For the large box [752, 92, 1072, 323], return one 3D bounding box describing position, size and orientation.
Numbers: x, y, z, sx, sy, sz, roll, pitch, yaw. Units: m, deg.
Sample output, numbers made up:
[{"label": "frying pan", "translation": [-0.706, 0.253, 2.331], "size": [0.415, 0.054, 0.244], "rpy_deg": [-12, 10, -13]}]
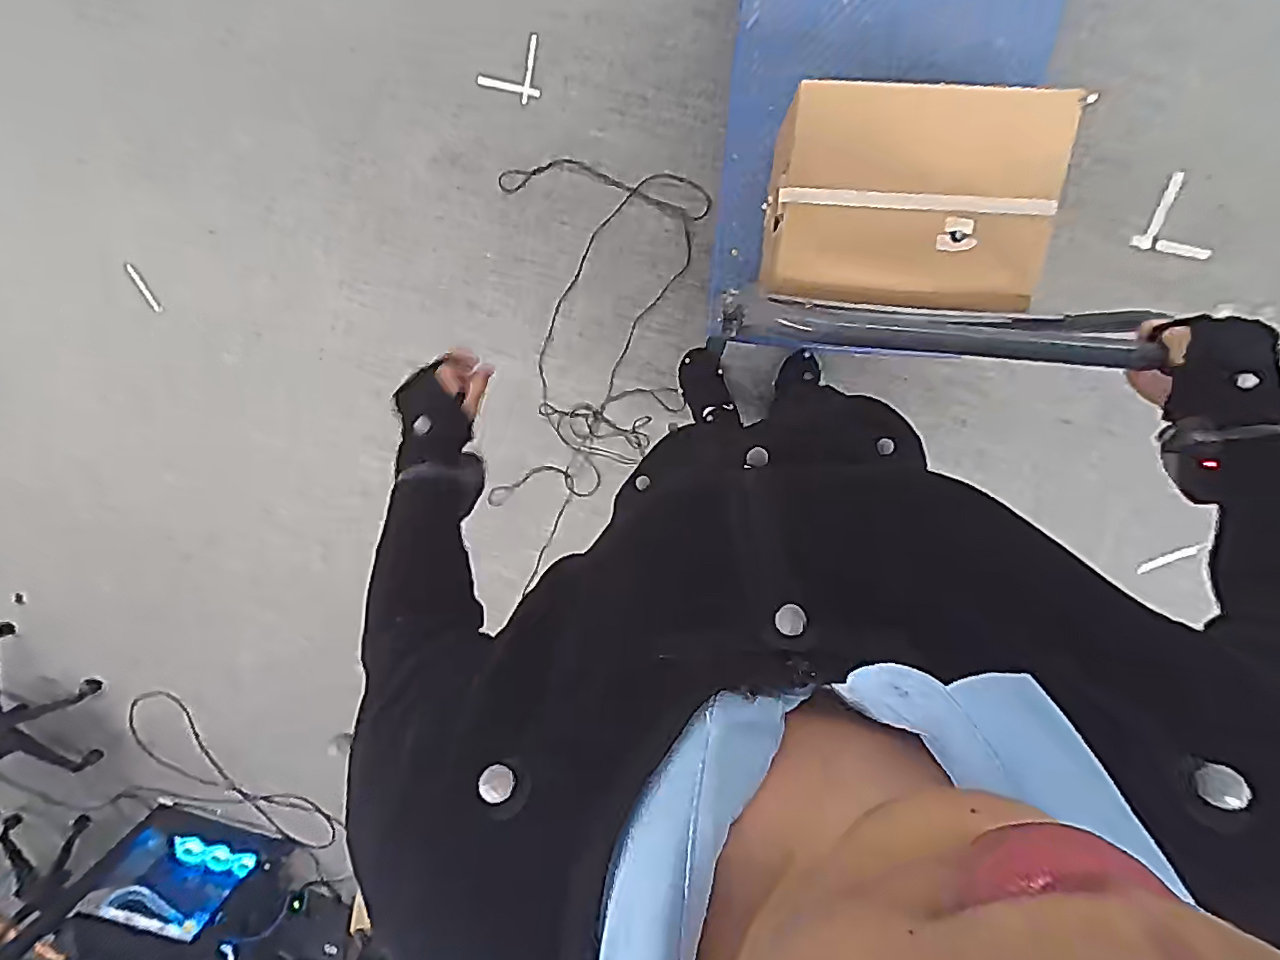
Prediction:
[{"label": "large box", "translation": [0.434, -0.459, 0.981], "size": [0.408, 0.320, 0.320], "rpy_deg": [6, 107, 4]}]
